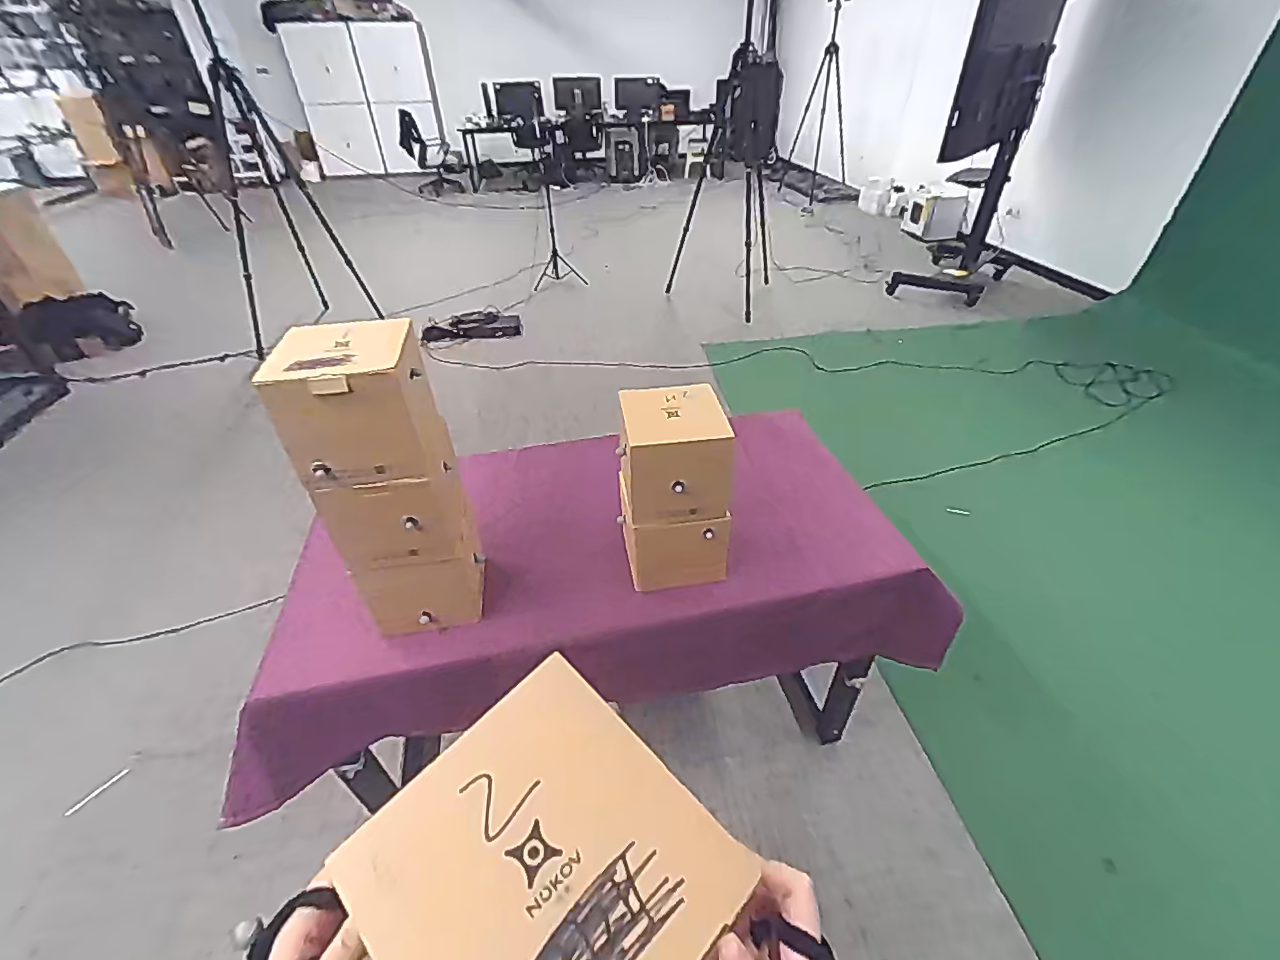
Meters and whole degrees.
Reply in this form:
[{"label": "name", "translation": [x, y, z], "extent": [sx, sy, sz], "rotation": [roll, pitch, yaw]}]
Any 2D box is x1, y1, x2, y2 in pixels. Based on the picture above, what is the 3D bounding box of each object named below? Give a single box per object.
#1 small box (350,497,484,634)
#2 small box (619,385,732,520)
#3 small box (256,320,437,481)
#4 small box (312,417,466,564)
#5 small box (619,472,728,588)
[{"label": "small box", "translation": [-0.384, 0.153, 0.968], "extent": [0.179, 0.176, 0.168], "rotation": [-7, 38, -7]}, {"label": "small box", "translation": [0.055, -0.044, 0.935], "extent": [0.168, 0.176, 0.179], "rotation": [-5, 38, -5]}, {"label": "small box", "translation": [-0.398, -0.110, 0.773], "extent": [0.168, 0.176, 0.179], "rotation": [-8, 38, -9]}, {"label": "small box", "translation": [-0.386, 0.021, 0.871], "extent": [0.168, 0.176, 0.179], "rotation": [-6, 38, -6]}, {"label": "small box", "translation": [0.060, 0.089, 1.032], "extent": [0.179, 0.176, 0.168], "rotation": [-6, 39, -6]}]
